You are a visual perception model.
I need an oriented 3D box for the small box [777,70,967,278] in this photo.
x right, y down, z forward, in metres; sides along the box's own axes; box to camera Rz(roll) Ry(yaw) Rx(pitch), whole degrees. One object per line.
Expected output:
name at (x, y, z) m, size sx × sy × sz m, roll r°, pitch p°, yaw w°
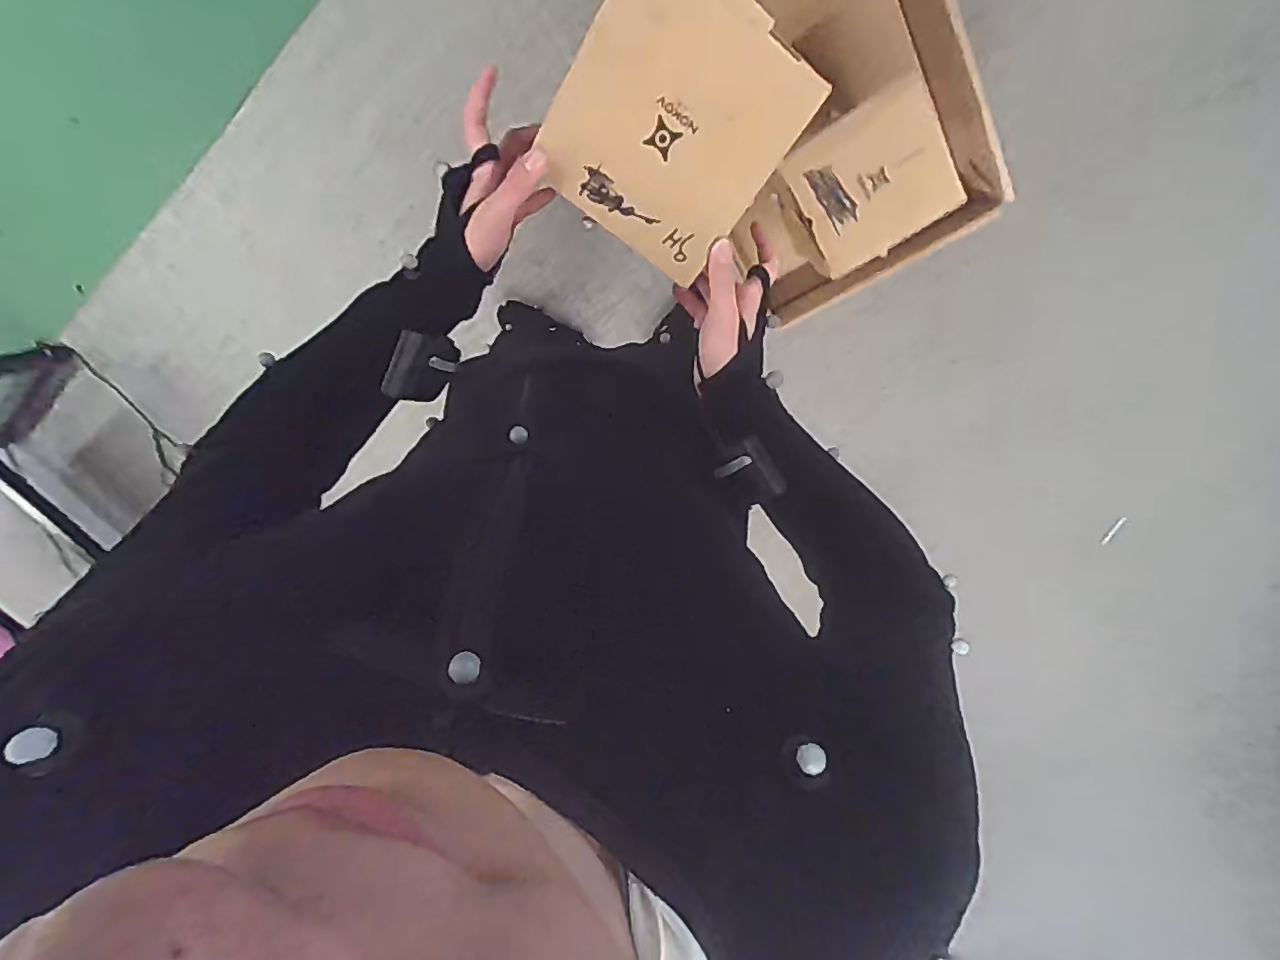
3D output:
small box at (0.300, -0.401, 0.740) m, size 0.179 × 0.176 × 0.168 m, roll -28°, pitch 108°, yaw 19°

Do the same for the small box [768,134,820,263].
small box at (0.324, -0.479, 0.883) m, size 0.179 × 0.176 × 0.168 m, roll -23°, pitch 110°, yaw 19°

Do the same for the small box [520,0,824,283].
small box at (0.023, -0.307, 0.471) m, size 0.168 × 0.176 × 0.179 m, roll 32°, pitch 117°, yaw -14°
